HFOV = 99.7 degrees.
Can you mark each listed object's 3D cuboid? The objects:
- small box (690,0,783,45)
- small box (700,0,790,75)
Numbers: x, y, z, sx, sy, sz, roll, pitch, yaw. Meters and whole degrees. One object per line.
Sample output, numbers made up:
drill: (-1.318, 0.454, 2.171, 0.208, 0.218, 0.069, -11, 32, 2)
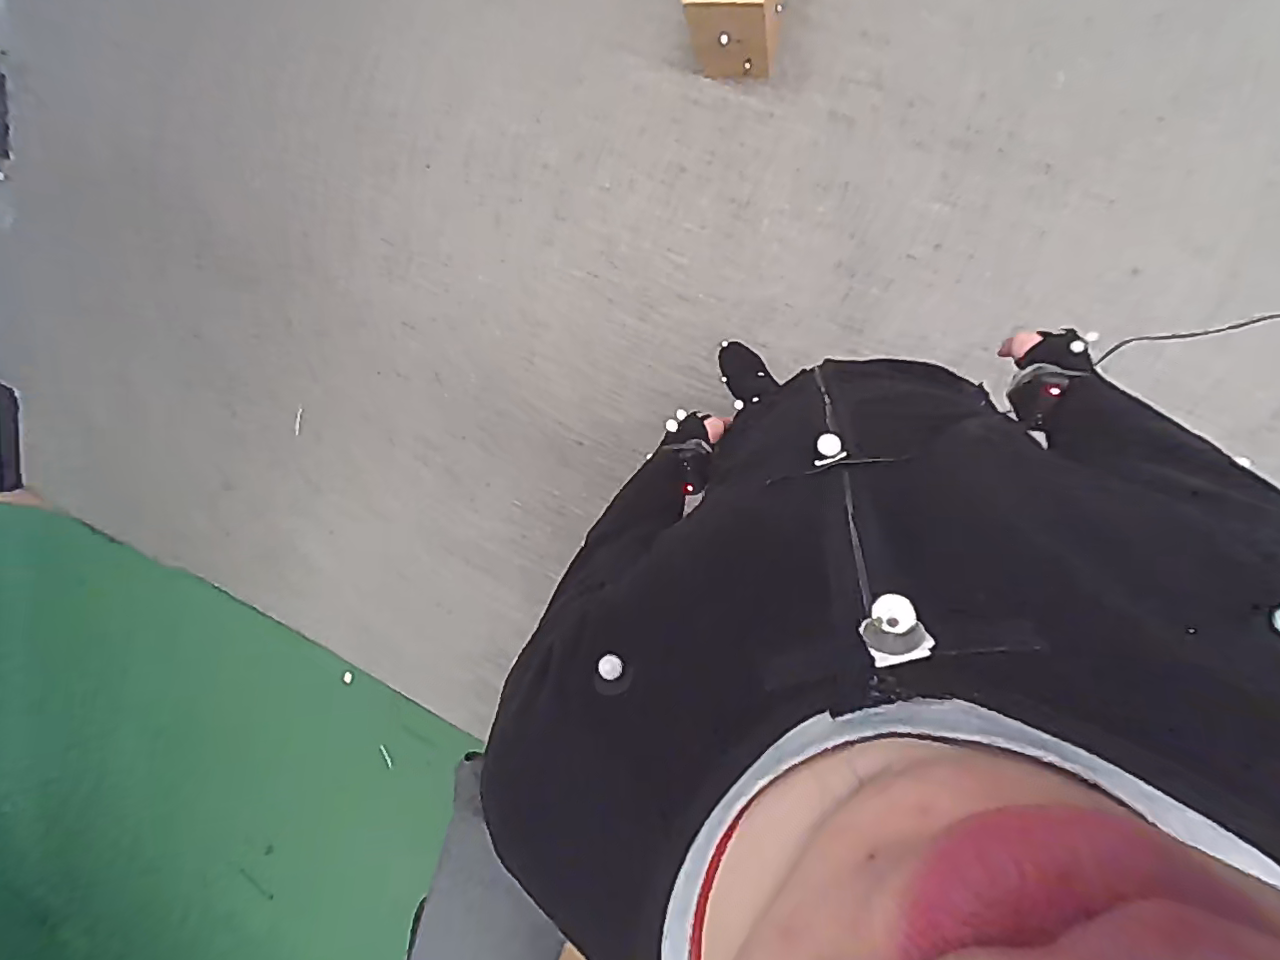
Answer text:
small box: (0.201, -1.007, 1.070, 0.168, 0.176, 0.179, 13, 109, 13)
small box: (0.242, -1.052, 1.223, 0.168, 0.176, 0.179, 11, 106, 13)
